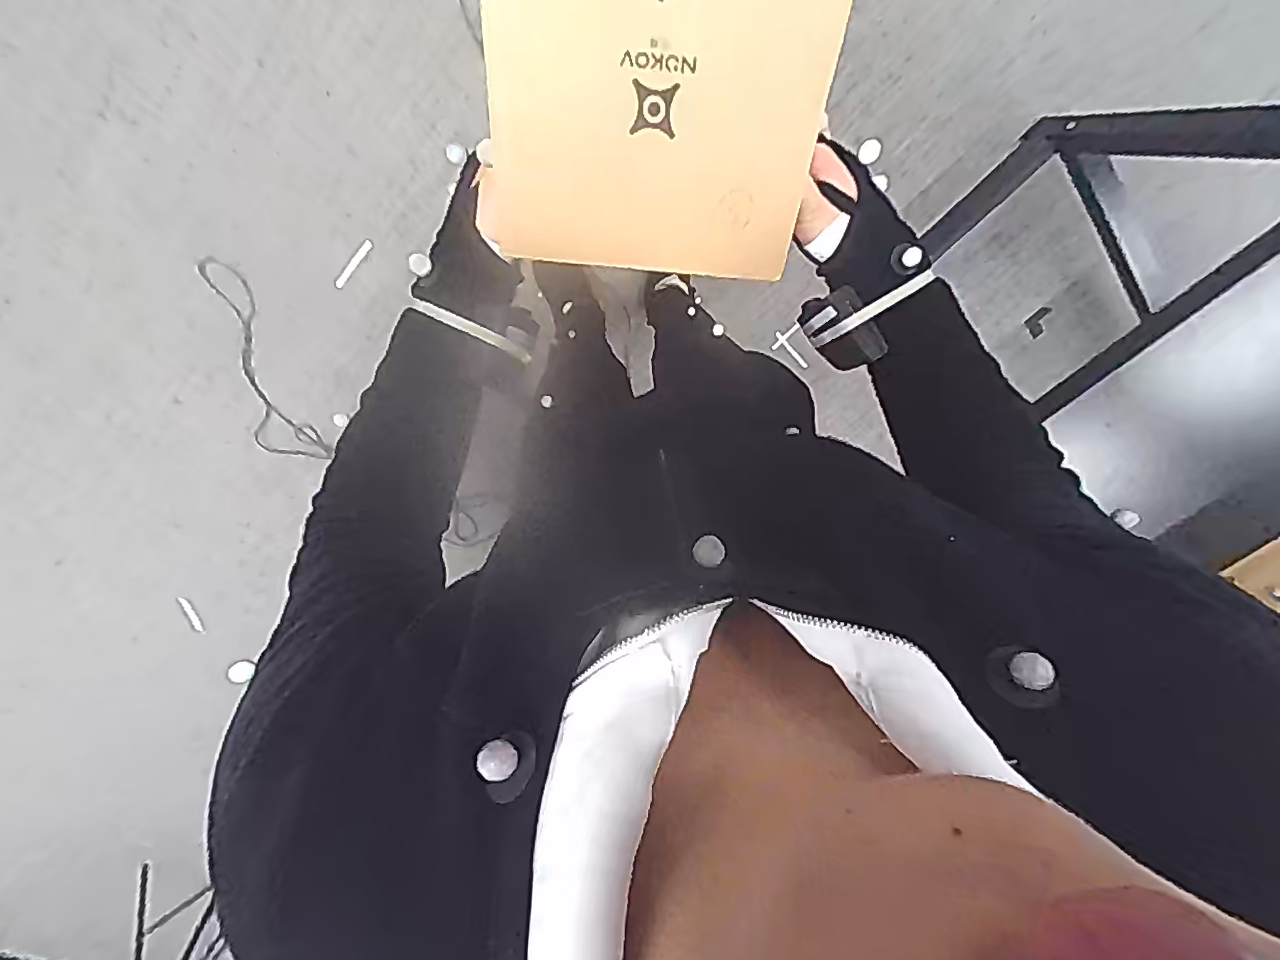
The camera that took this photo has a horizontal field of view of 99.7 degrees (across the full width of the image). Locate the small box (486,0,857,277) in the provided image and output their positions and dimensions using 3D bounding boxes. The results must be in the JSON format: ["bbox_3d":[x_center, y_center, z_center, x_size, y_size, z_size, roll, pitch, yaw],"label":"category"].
[{"bbox_3d":[0.012,-0.241,0.318,0.168,0.176,0.179,3,129,-3],"label":"small box"}]
